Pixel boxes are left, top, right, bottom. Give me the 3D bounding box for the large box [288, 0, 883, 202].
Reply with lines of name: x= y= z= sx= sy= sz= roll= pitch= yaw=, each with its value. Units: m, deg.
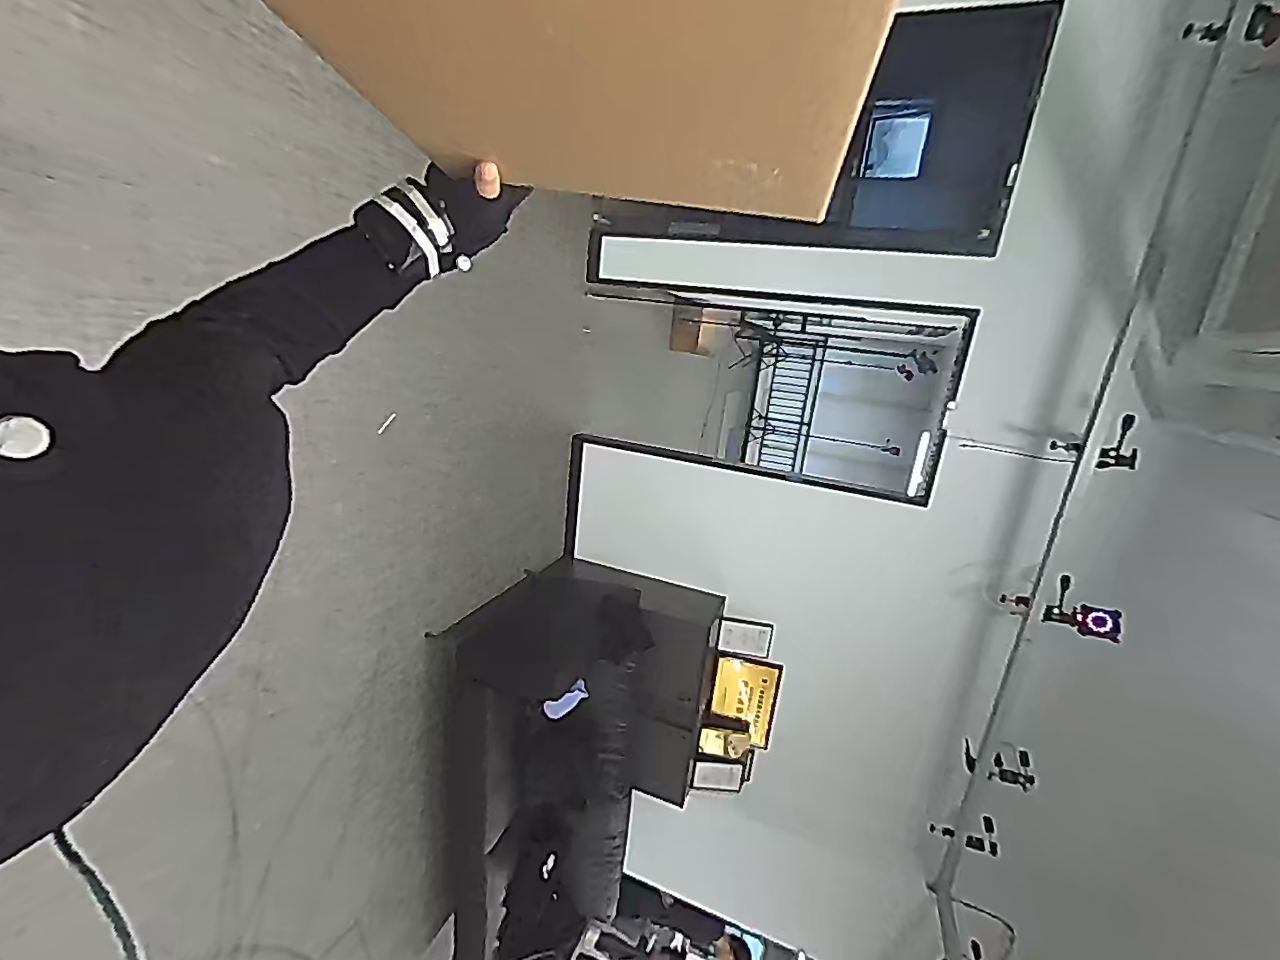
large box: x=-0.022 y=-0.371 z=0.228 sx=0.408 sy=0.320 sz=0.320 roll=-22 pitch=124 yaw=-80
